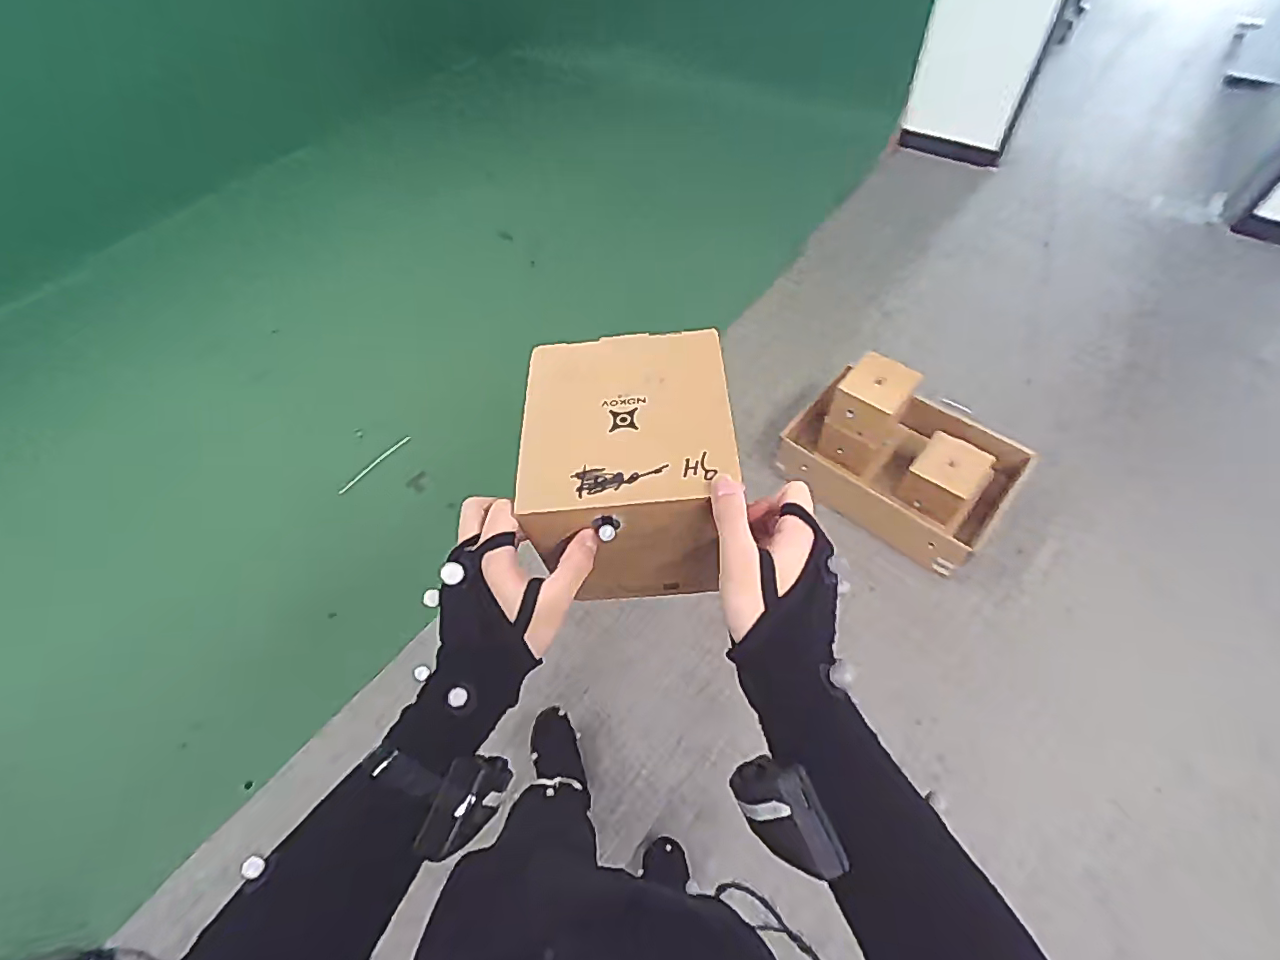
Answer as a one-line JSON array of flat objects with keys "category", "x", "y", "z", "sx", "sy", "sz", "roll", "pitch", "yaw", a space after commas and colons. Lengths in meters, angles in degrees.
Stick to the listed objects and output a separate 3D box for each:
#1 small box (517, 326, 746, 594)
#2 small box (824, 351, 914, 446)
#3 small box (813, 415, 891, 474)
[{"category": "small box", "x": 0.001, "y": -0.013, "z": 0.492, "sx": 0.168, "sy": 0.176, "sz": 0.179, "roll": -4, "pitch": 55, "yaw": 5}, {"category": "small box", "x": 0.655, "y": -0.231, "z": 1.568, "sx": 0.168, "sy": 0.176, "sz": 0.179, "roll": 34, "pitch": 68, "yaw": 24}, {"category": "small box", "x": 0.667, "y": -0.149, "z": 1.708, "sx": 0.168, "sy": 0.176, "sz": 0.179, "roll": 36, "pitch": 68, "yaw": 23}]
